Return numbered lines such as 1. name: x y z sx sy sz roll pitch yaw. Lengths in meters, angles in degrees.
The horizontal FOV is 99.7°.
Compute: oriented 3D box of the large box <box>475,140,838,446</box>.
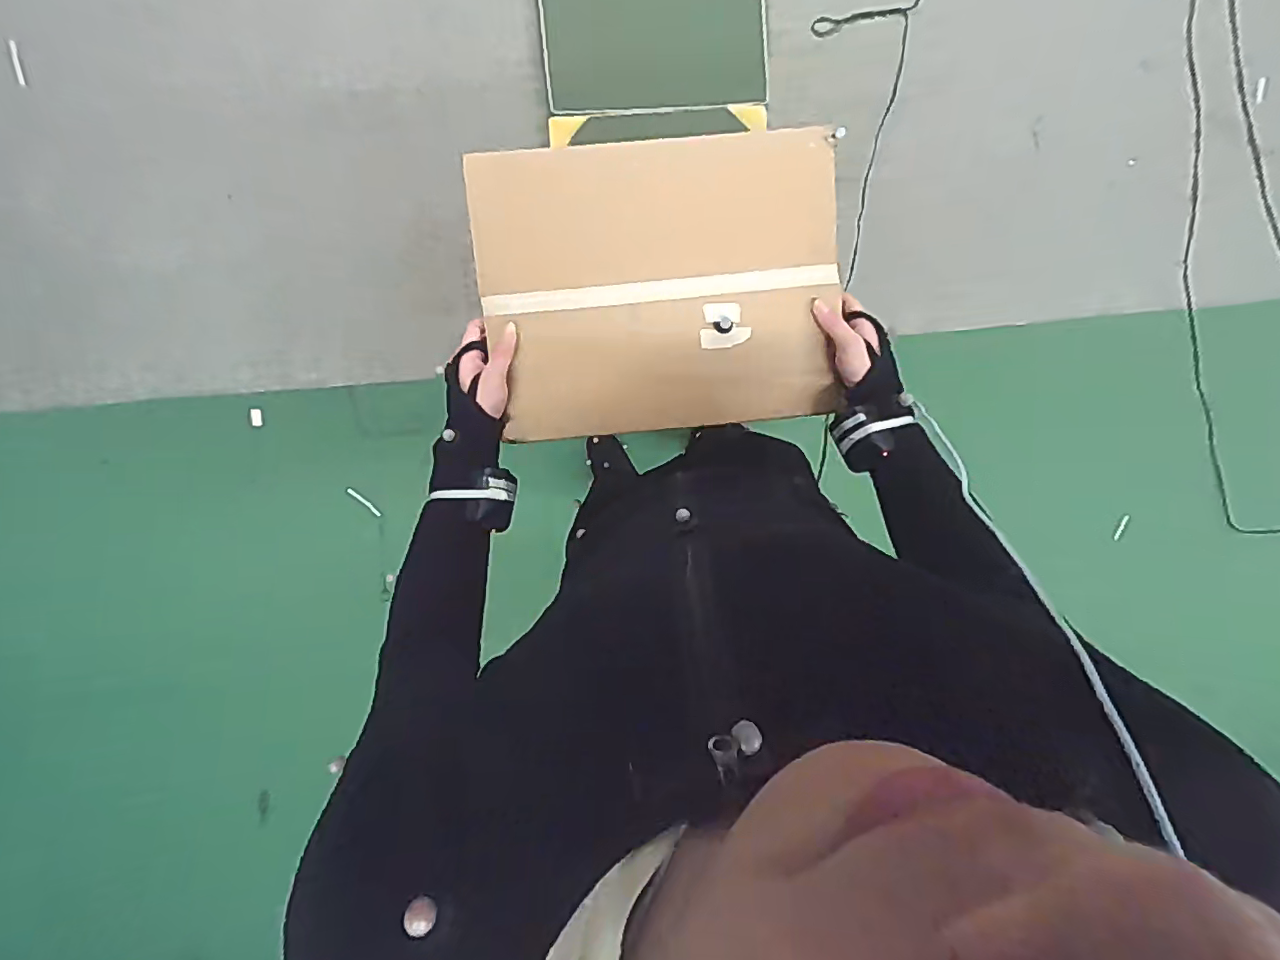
1. large box: 0.020 -0.233 0.772 0.408 0.320 0.320 -6 99 -2
